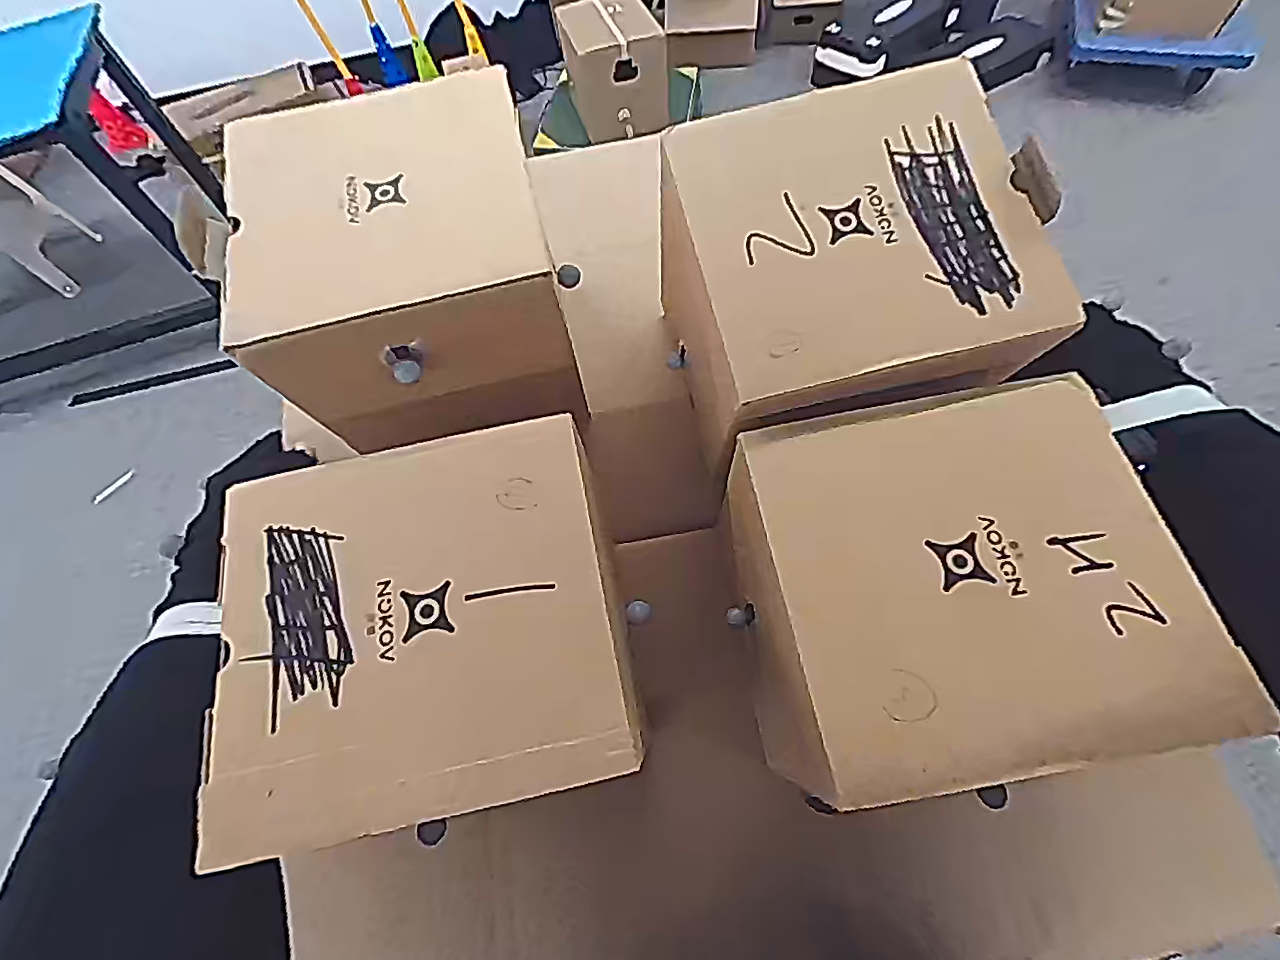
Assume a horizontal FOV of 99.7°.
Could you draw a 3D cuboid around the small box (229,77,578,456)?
[{"bbox_3d":[-0.148,-0.136,0.392,0.179,0.176,0.168,-14,69,-1],"label":"small box"}]
